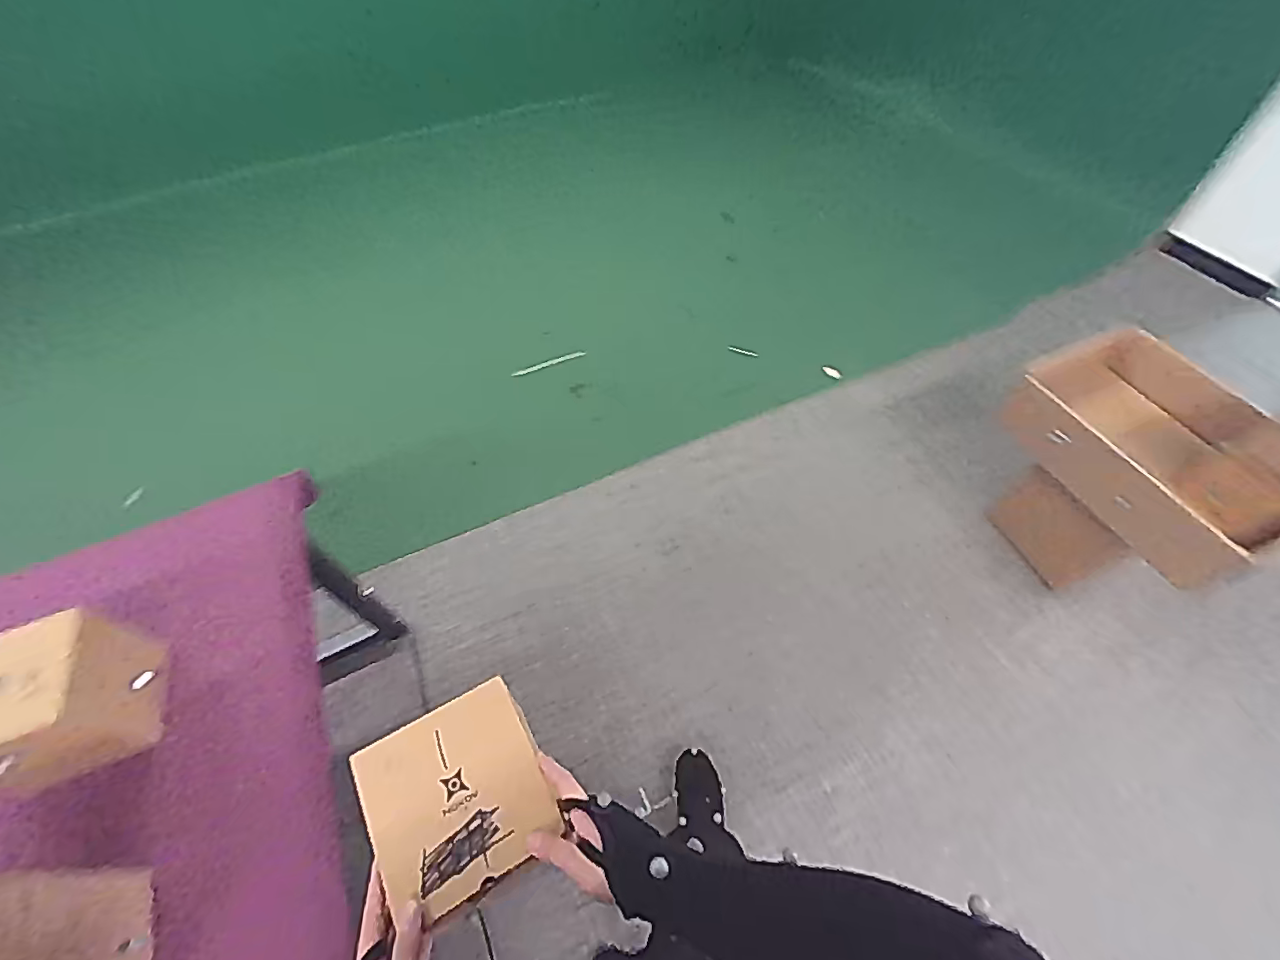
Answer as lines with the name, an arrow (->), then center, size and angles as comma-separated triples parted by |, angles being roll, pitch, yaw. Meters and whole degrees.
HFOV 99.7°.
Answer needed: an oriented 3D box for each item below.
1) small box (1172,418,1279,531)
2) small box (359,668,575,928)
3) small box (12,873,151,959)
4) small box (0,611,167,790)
small box -> 1.415, -0.010, 1.249 | 0.179, 0.176, 0.168 | -21, 58, -10
small box -> -0.181, 0.347, 0.605 | 0.168, 0.176, 0.179 | -24, 59, -19
small box -> -0.685, 0.571, 0.591 | 0.168, 0.176, 0.179 | -26, 58, -14
small box -> -0.839, 0.320, 0.773 | 0.179, 0.176, 0.168 | -21, 57, -11
